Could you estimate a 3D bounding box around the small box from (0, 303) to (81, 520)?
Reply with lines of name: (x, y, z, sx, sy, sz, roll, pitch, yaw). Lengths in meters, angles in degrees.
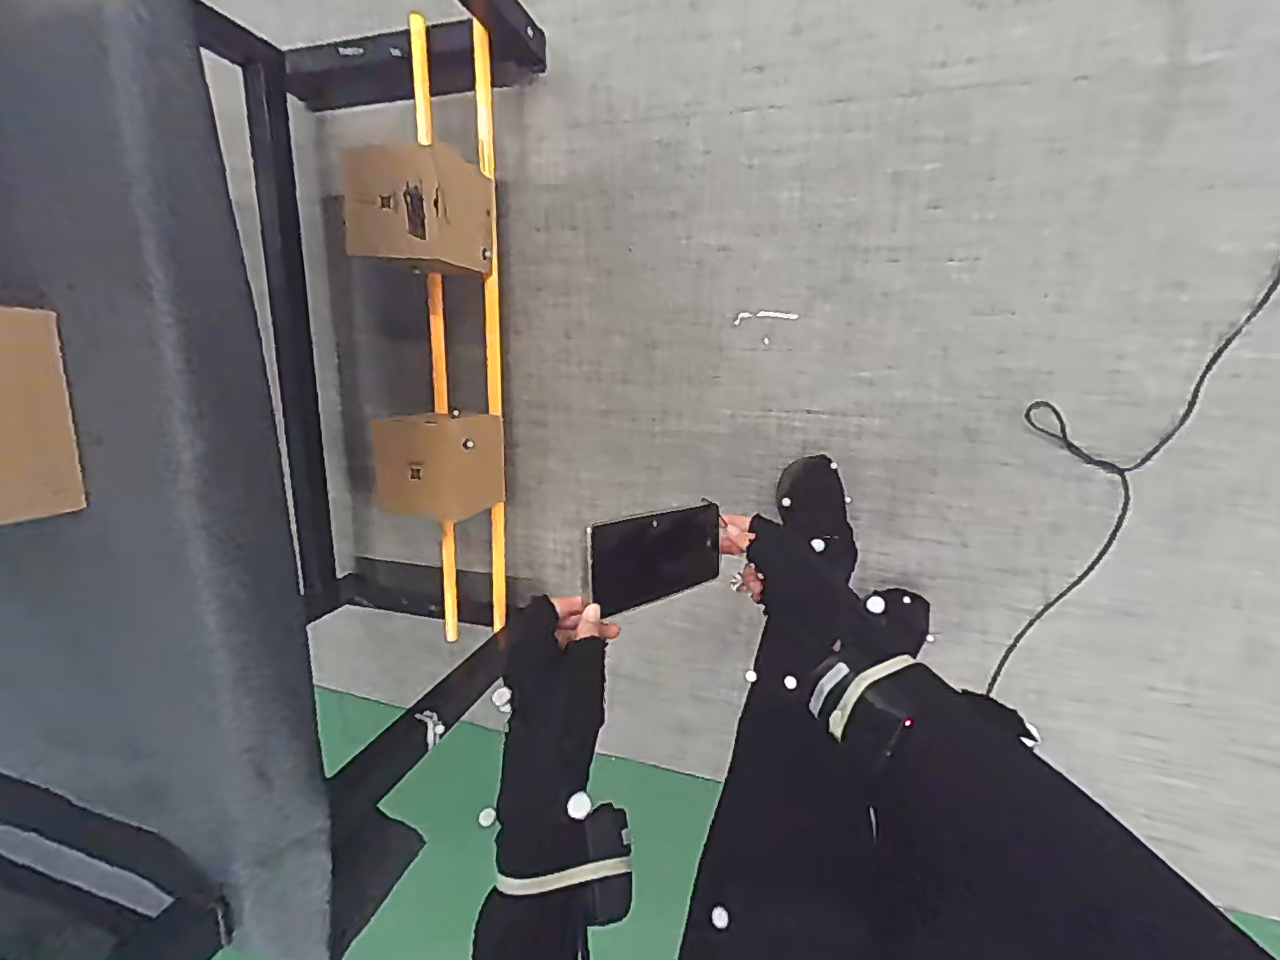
small box: (-0.593, -0.055, 0.421, 0.168, 0.176, 0.179, 8, 103, 15)

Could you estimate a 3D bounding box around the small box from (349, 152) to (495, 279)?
small box: (-0.367, -0.449, 0.937, 0.179, 0.176, 0.168, 8, 103, 15)
